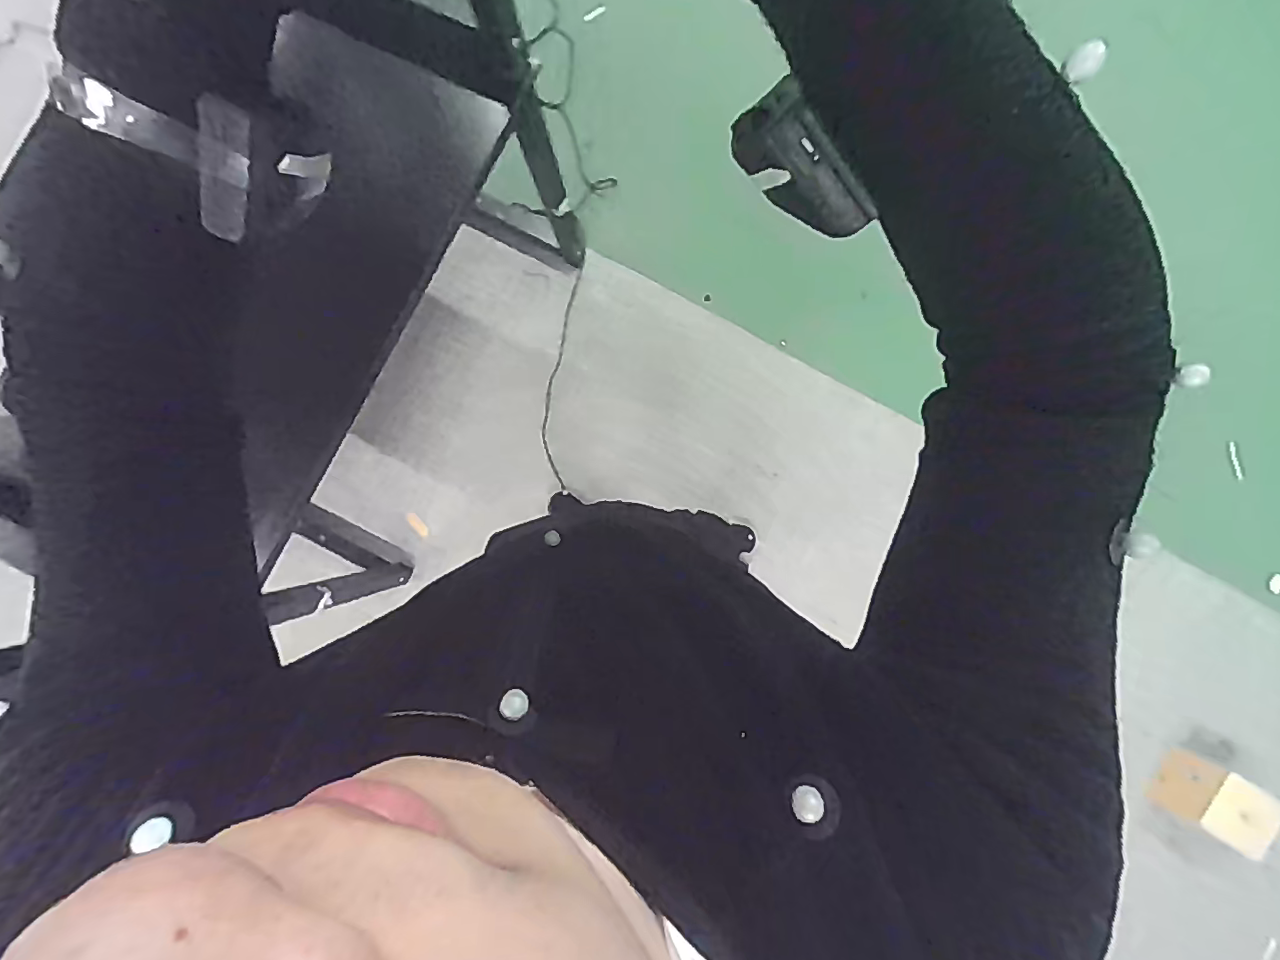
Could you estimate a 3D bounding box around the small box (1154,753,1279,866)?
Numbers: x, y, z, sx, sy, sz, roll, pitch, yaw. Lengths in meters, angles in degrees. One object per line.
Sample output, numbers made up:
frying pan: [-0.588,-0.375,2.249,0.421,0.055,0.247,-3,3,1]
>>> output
small box: [1.565,0.871,1.456,0.179,0.176,0.168,33,88,3]
